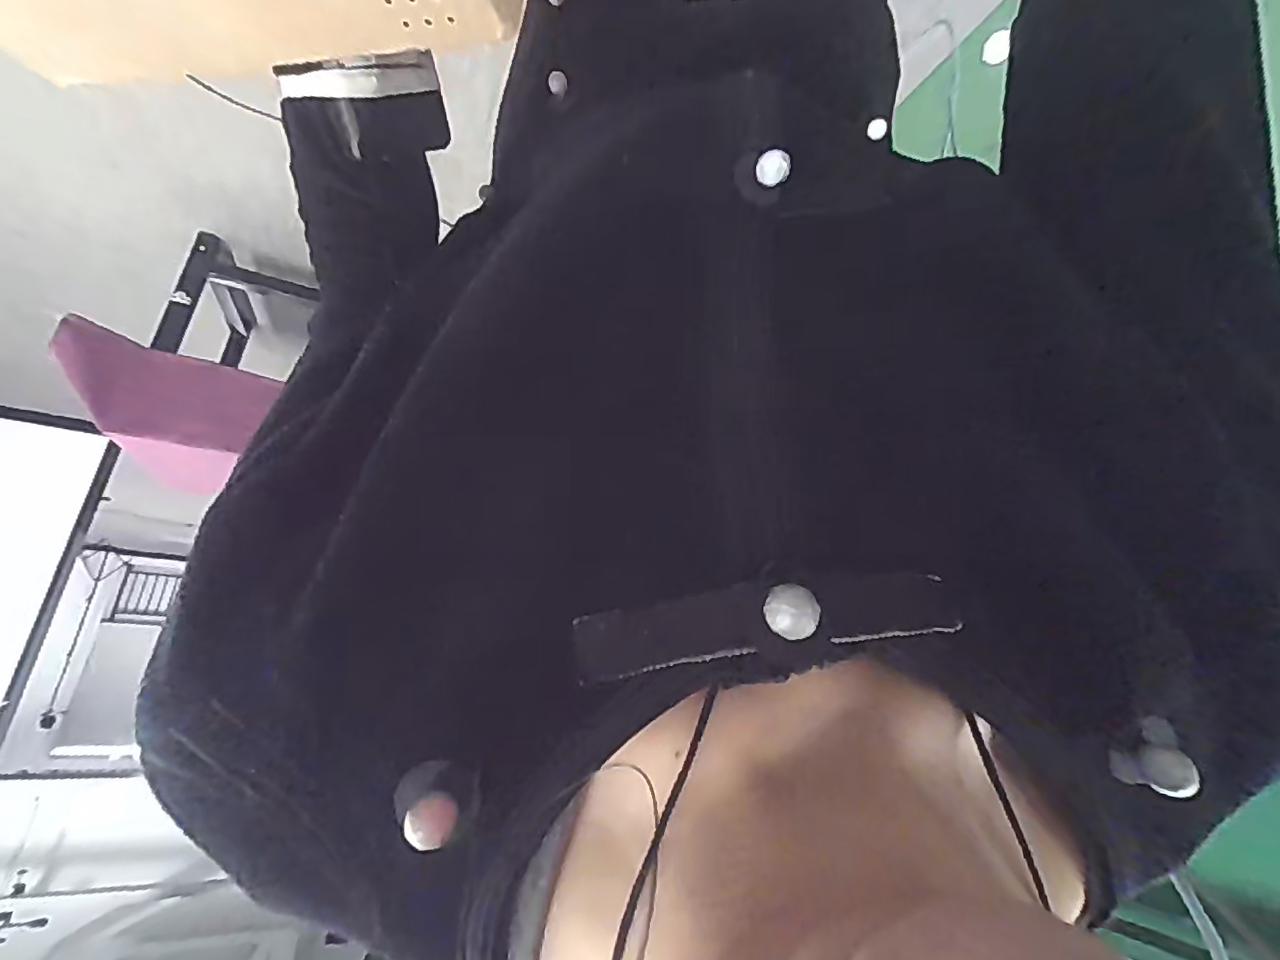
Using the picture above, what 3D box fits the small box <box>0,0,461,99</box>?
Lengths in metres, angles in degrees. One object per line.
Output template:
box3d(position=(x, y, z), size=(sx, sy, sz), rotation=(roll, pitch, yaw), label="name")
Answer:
box3d(position=(-0.124, -0.208, 0.088), size=(0.176, 0.179, 0.168), rotation=(9, 179, 15), label="small box")
